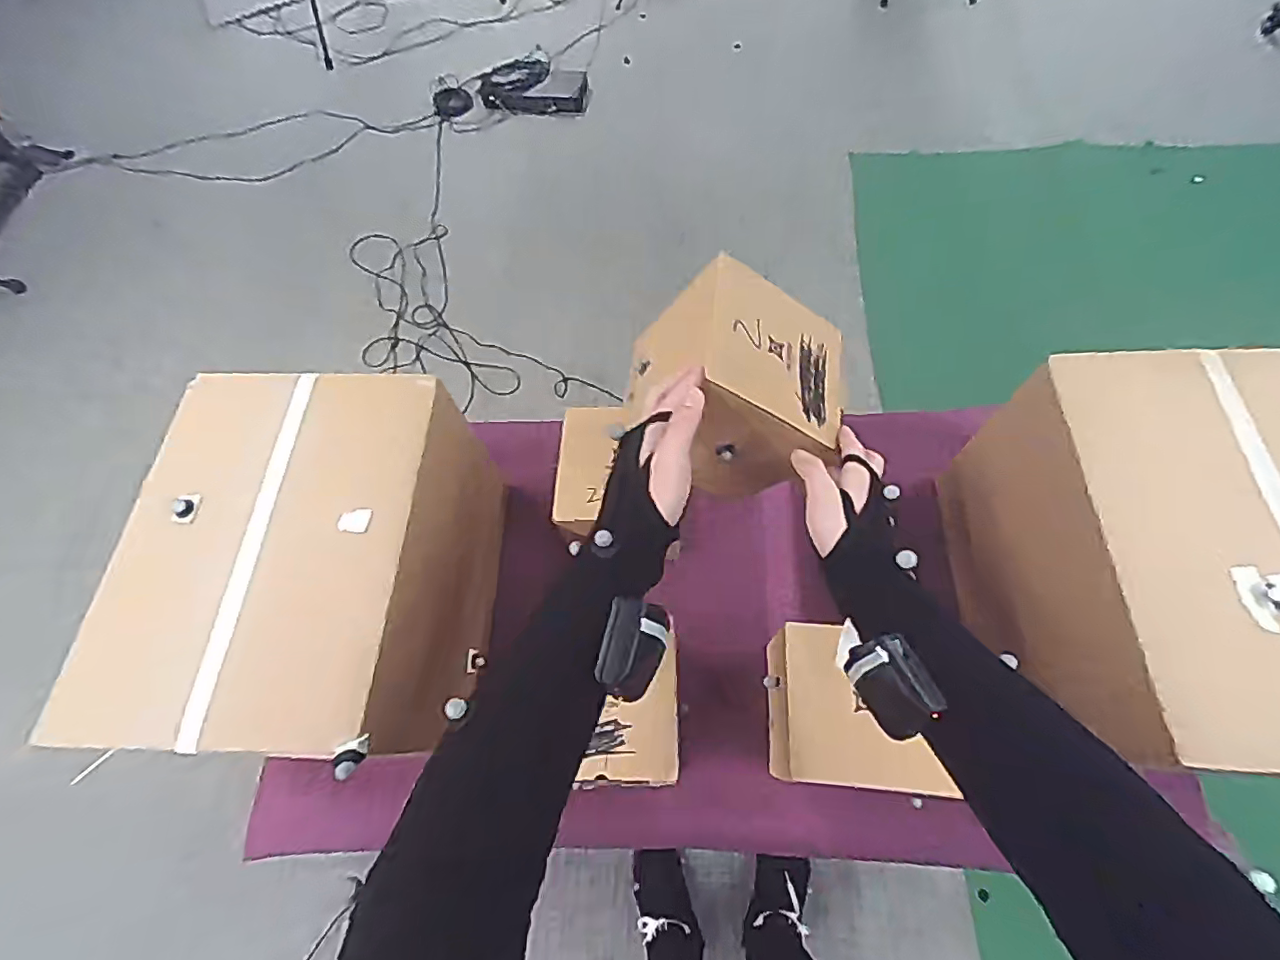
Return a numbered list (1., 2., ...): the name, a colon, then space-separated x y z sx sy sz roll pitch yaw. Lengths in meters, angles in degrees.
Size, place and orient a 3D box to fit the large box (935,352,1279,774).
1. large box: 0.594 0.106 0.628 0.320 0.320 0.408 0 66 6
